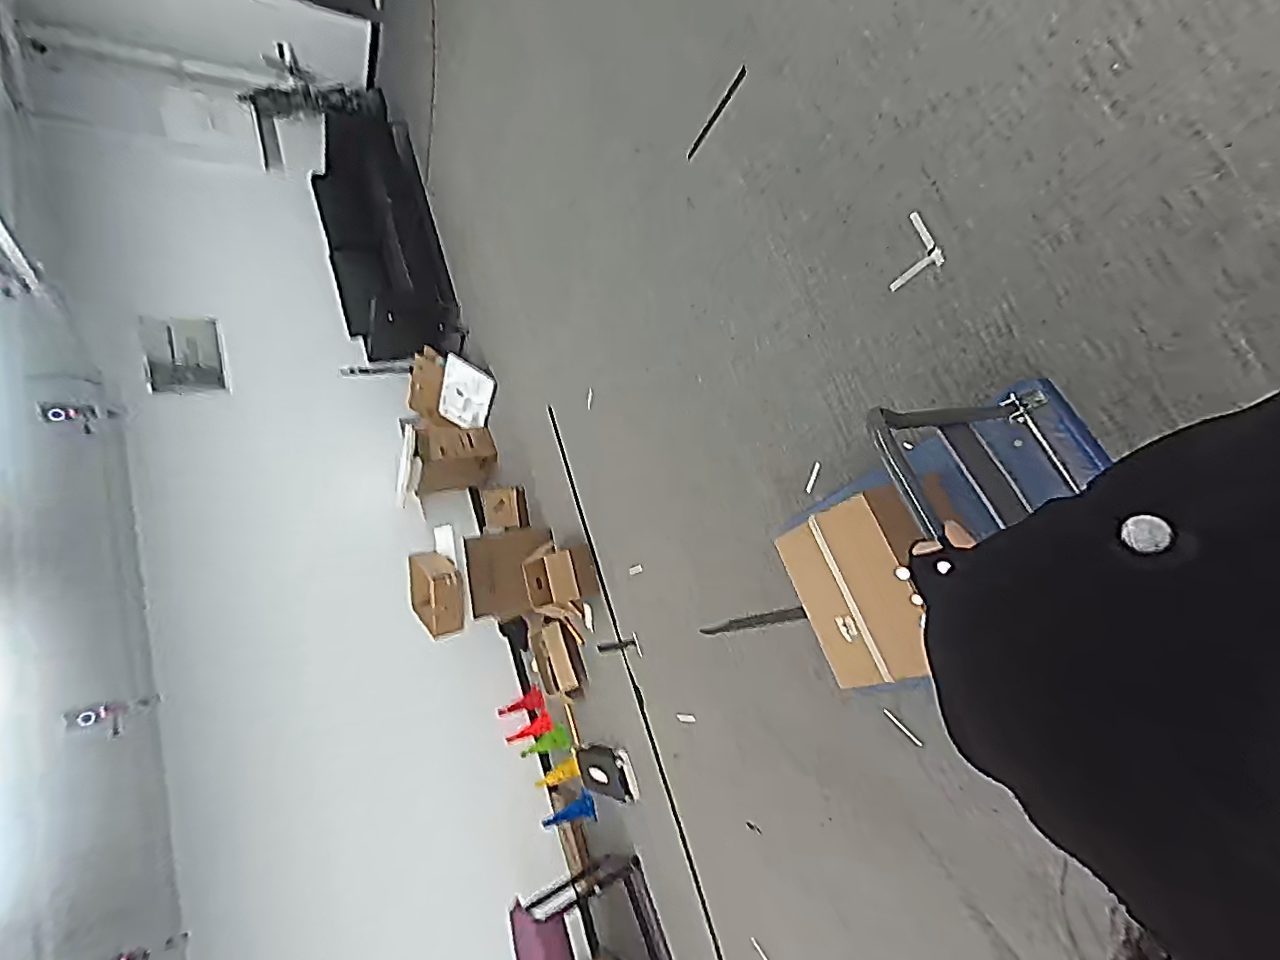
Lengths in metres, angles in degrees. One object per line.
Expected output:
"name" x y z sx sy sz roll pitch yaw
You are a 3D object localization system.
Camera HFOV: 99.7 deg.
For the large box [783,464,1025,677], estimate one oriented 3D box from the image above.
"large box" 0.638 0.218 1.341 0.320 0.320 0.408 -44 63 53
